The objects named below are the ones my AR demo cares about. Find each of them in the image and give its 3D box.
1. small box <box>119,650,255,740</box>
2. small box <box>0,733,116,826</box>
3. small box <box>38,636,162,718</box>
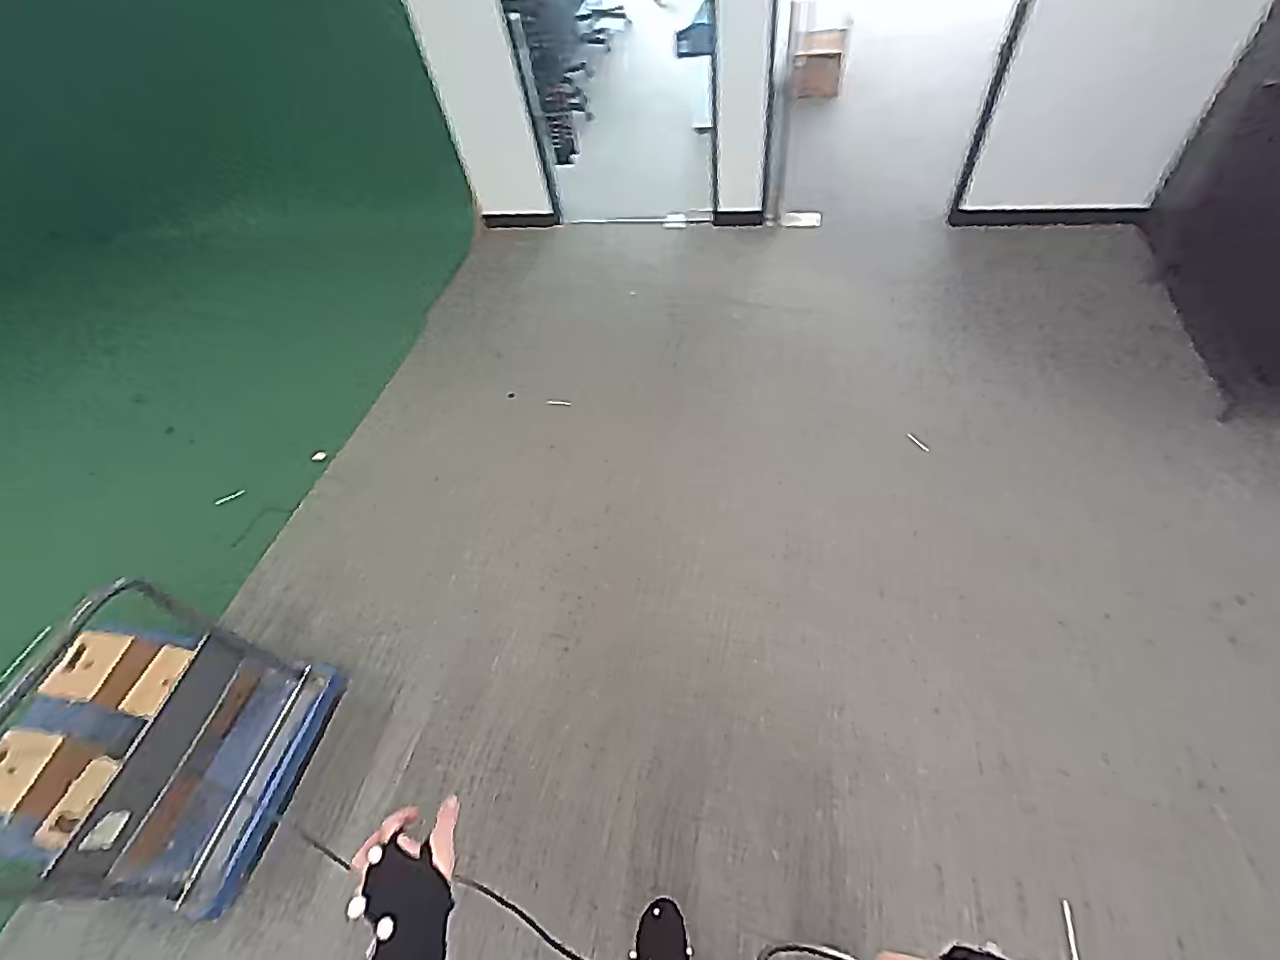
[{"bbox_3d":[-1.188,0.572,1.432,0.179,0.176,0.168,7,54,12],"label":"small box"},{"bbox_3d":[-1.485,0.746,1.342,0.179,0.176,0.168,3,53,10],"label":"small box"},{"bbox_3d":[-1.451,0.545,1.489,0.179,0.176,0.168,3,54,9],"label":"small box"}]
